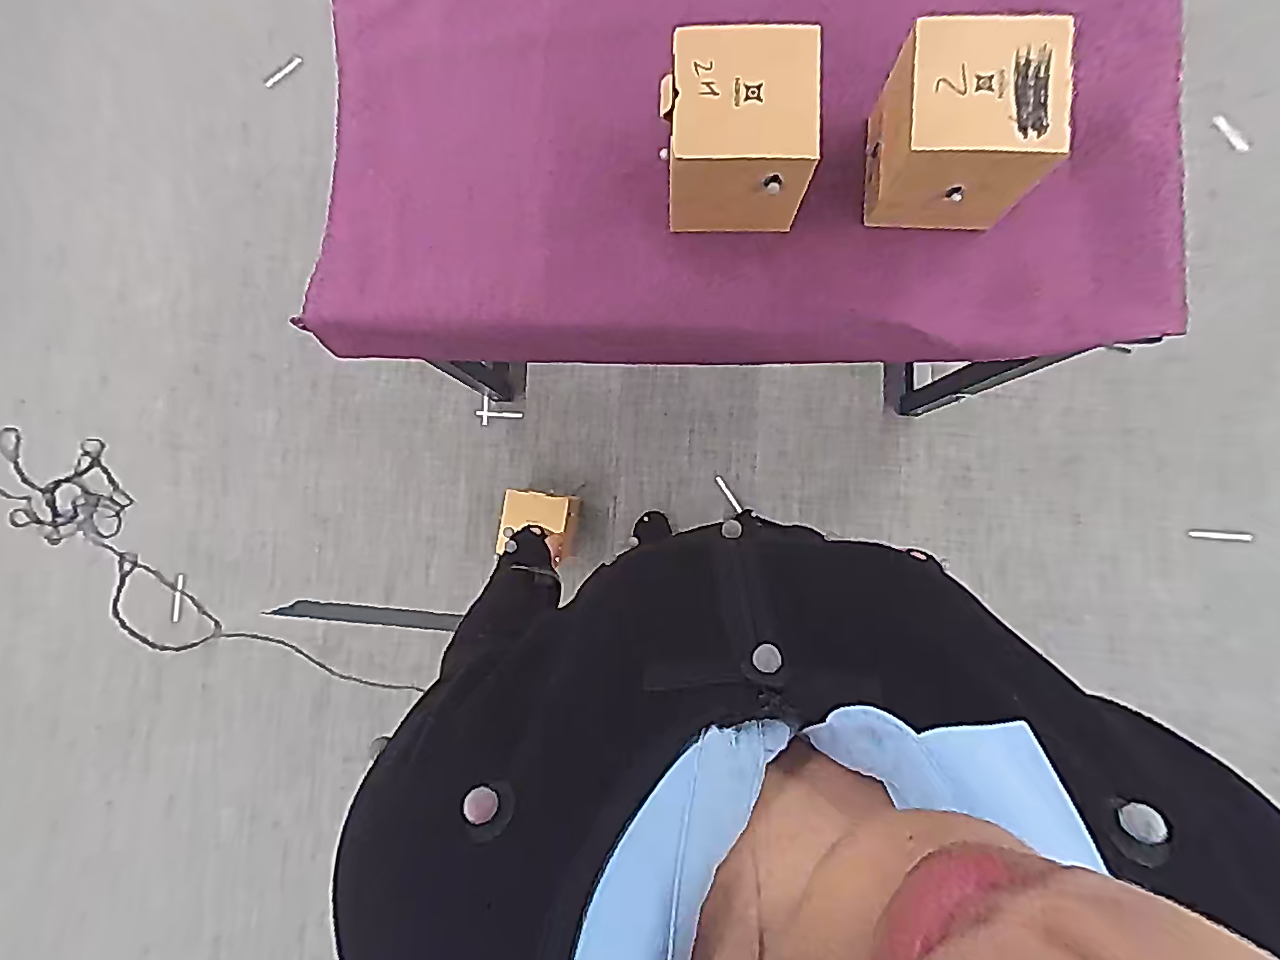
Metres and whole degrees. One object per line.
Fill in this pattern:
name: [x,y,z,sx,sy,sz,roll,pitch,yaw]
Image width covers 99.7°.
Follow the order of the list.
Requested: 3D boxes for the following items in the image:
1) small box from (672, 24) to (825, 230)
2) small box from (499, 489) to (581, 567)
small box: [0.133,-0.452,0.715,0.179,0.176,0.168,1,86,4]
small box: [-0.260,0.124,1.447,0.168,0.176,0.179,9,88,4]
